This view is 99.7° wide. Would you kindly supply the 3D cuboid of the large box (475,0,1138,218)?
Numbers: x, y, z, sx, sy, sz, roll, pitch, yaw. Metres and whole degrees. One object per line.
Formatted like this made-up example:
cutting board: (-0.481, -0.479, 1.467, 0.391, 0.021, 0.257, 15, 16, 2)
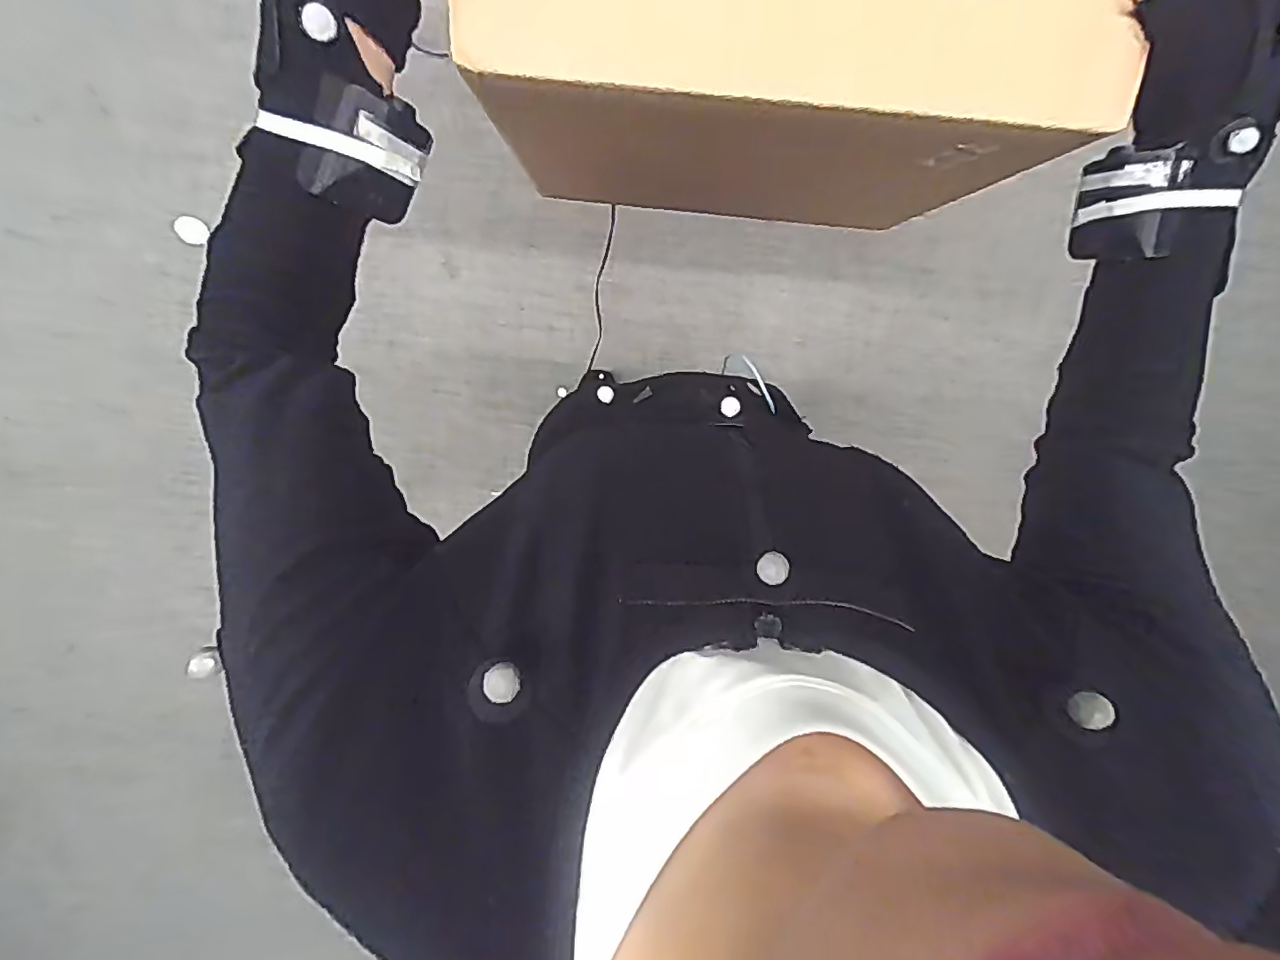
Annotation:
large box: (0.101, -0.421, 0.437, 0.408, 0.320, 0.320, 3, 105, -3)
